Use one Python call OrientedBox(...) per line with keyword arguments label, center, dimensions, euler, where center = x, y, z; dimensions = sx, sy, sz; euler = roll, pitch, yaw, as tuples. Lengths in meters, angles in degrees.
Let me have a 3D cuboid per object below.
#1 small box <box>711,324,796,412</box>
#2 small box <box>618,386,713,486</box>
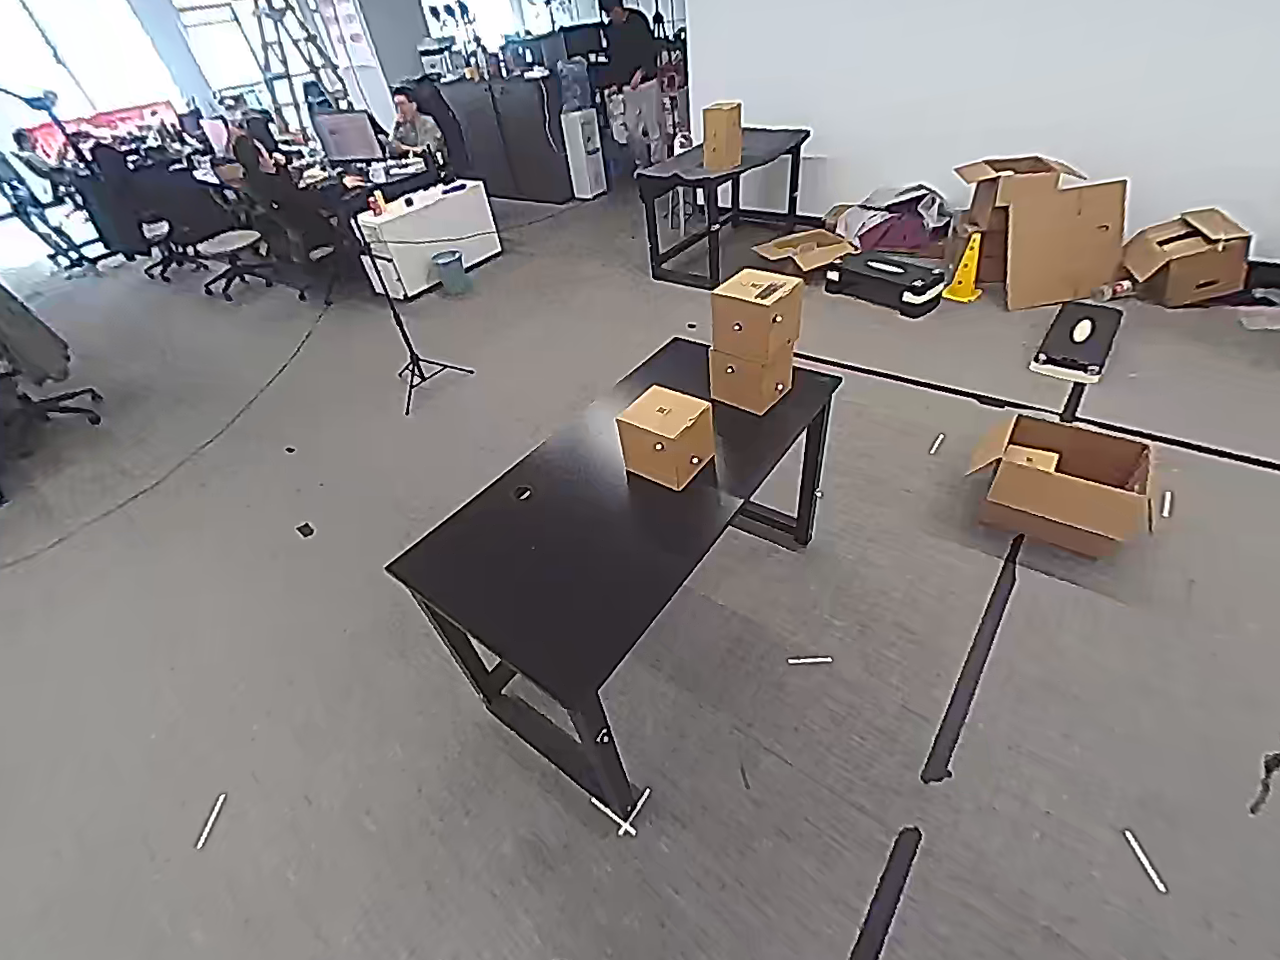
OrientedBox(label="small box", center=(0.320, -0.318, 1.540), dimensions=(0.179, 0.176, 0.168), euler=(28, 55, 34))
OrientedBox(label="small box", center=(0.069, -0.110, 1.362), dimensions=(0.179, 0.176, 0.168), euler=(23, 51, 30))
